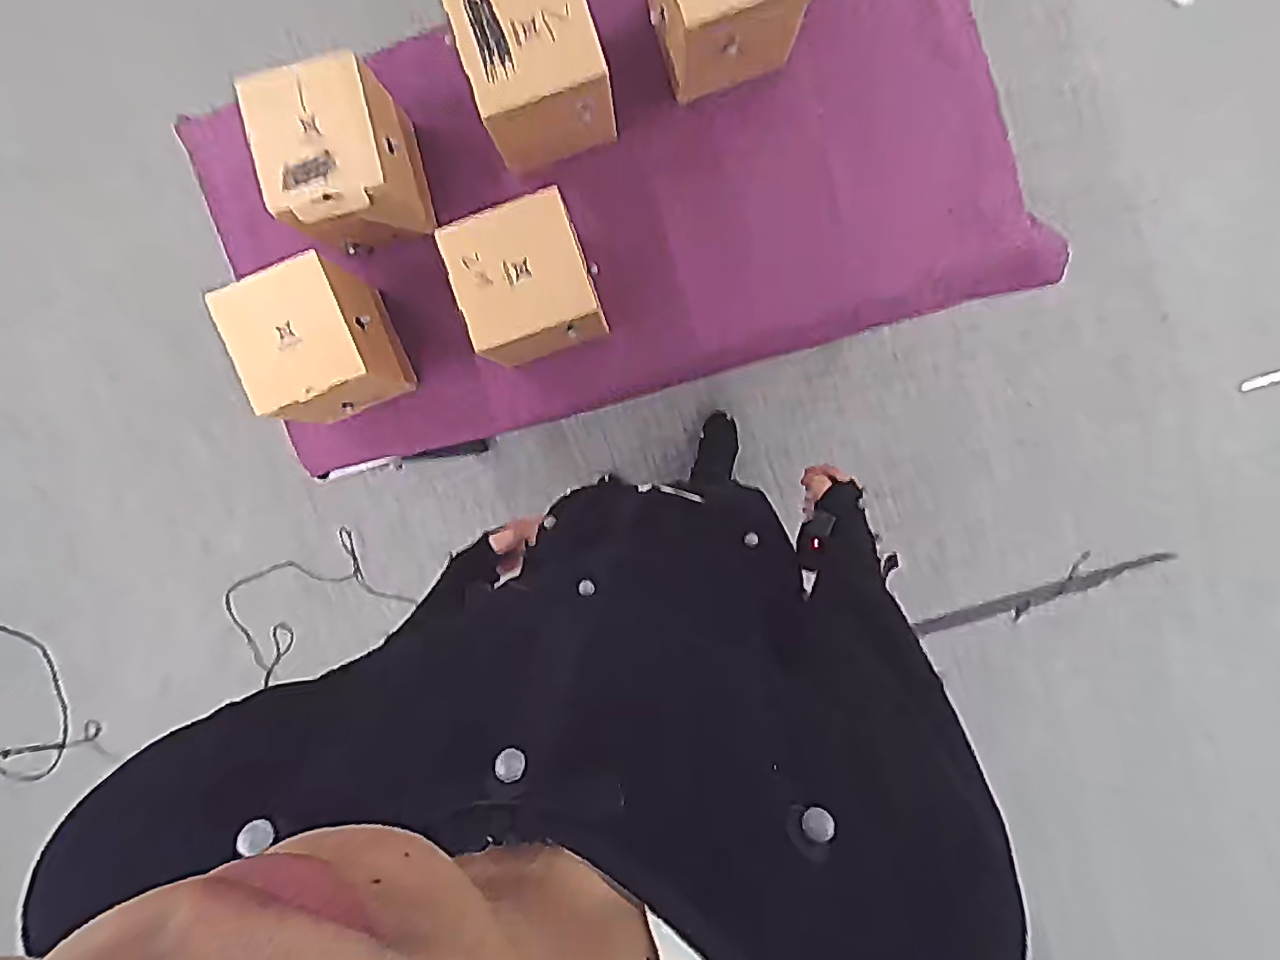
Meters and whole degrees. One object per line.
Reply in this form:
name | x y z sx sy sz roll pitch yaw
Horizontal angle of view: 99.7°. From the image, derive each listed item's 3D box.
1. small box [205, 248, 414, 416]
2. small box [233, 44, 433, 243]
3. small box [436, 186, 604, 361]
small box | -0.469 -0.203 0.797 0.168 0.176 0.179 -22 95 2
small box | -0.421 -0.460 0.774 0.168 0.176 0.179 -12 95 3
small box | -0.157 -0.282 0.780 0.179 0.176 0.168 -18 94 4
